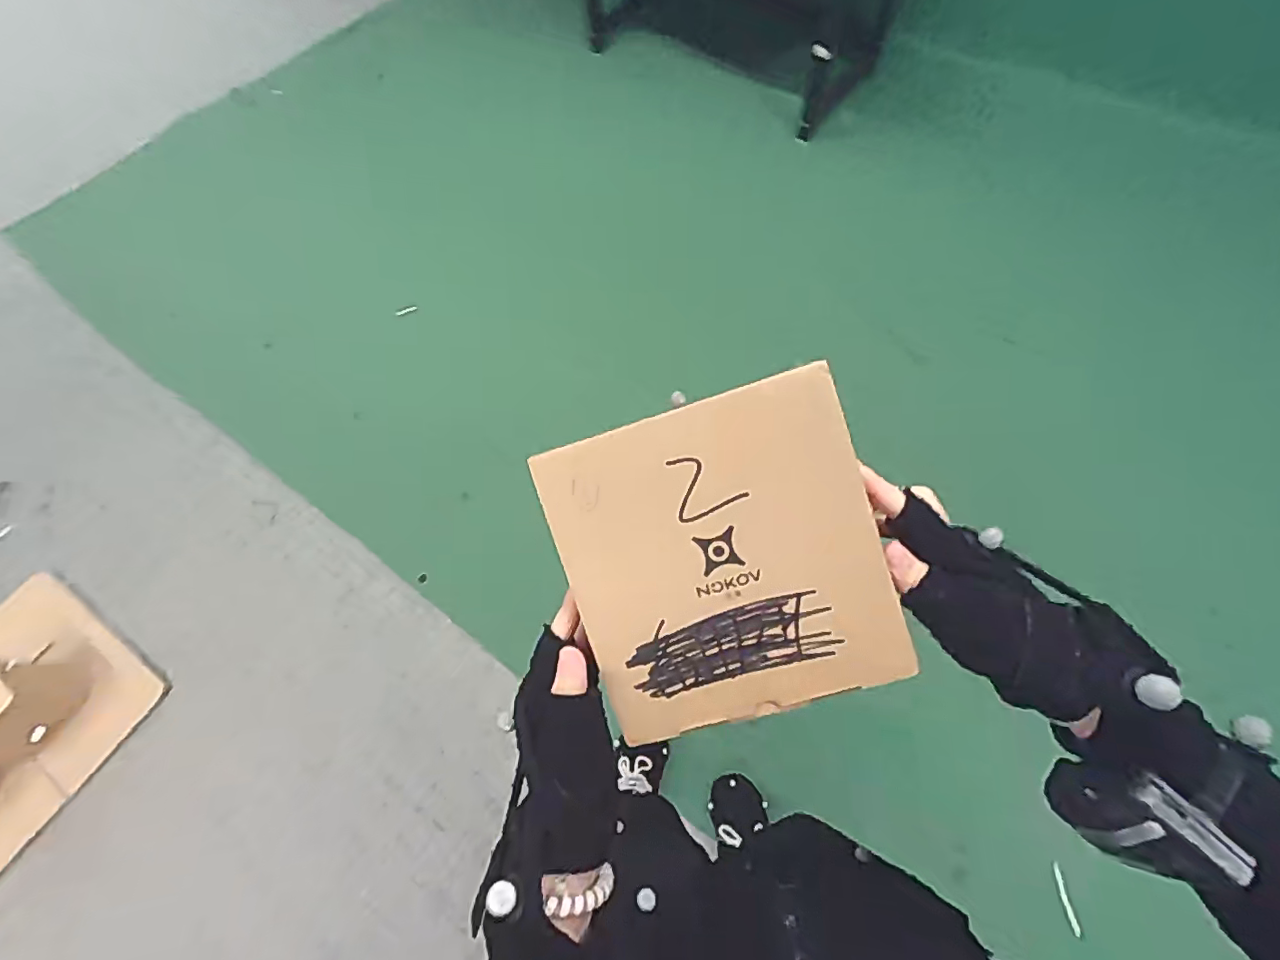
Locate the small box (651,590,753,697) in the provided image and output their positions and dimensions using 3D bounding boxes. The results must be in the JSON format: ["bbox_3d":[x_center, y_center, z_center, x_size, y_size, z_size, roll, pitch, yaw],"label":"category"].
[{"bbox_3d":[0.144,0.399,1.296,0.179,0.176,0.168,40,72,19],"label":"small box"}]

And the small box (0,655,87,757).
[{"bbox_3d":[-1.531,0.552,1.311,0.179,0.176,0.168,30,71,16],"label":"small box"}]
